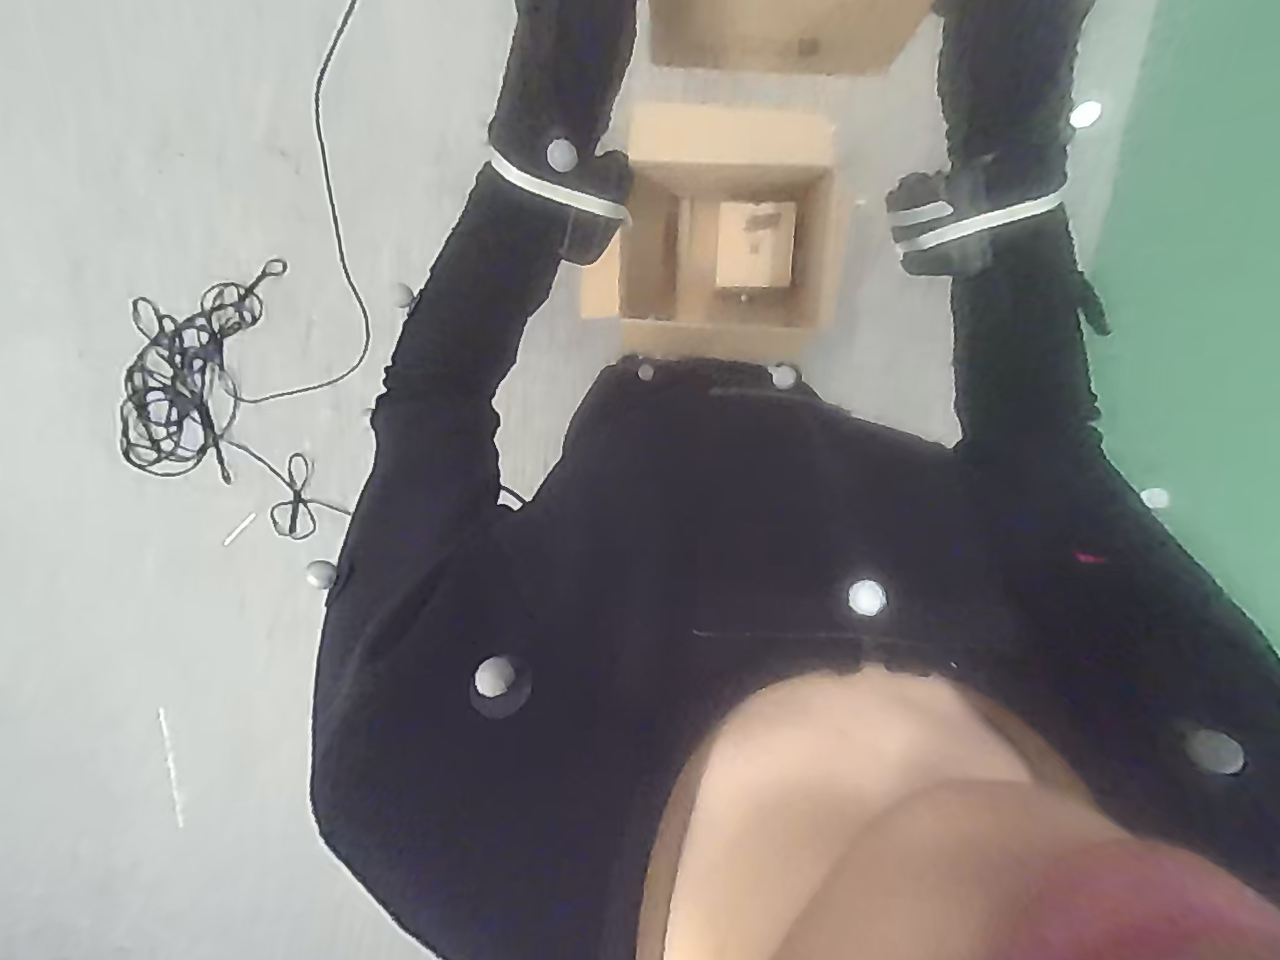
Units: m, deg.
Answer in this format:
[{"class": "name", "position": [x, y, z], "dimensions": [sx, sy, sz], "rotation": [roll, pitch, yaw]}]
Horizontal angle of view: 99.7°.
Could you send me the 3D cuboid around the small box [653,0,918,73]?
[{"class": "small box", "position": [0.092, -0.367, 0.300], "dimensions": [0.168, 0.176, 0.179], "rotation": [2, 96, 0]}]
